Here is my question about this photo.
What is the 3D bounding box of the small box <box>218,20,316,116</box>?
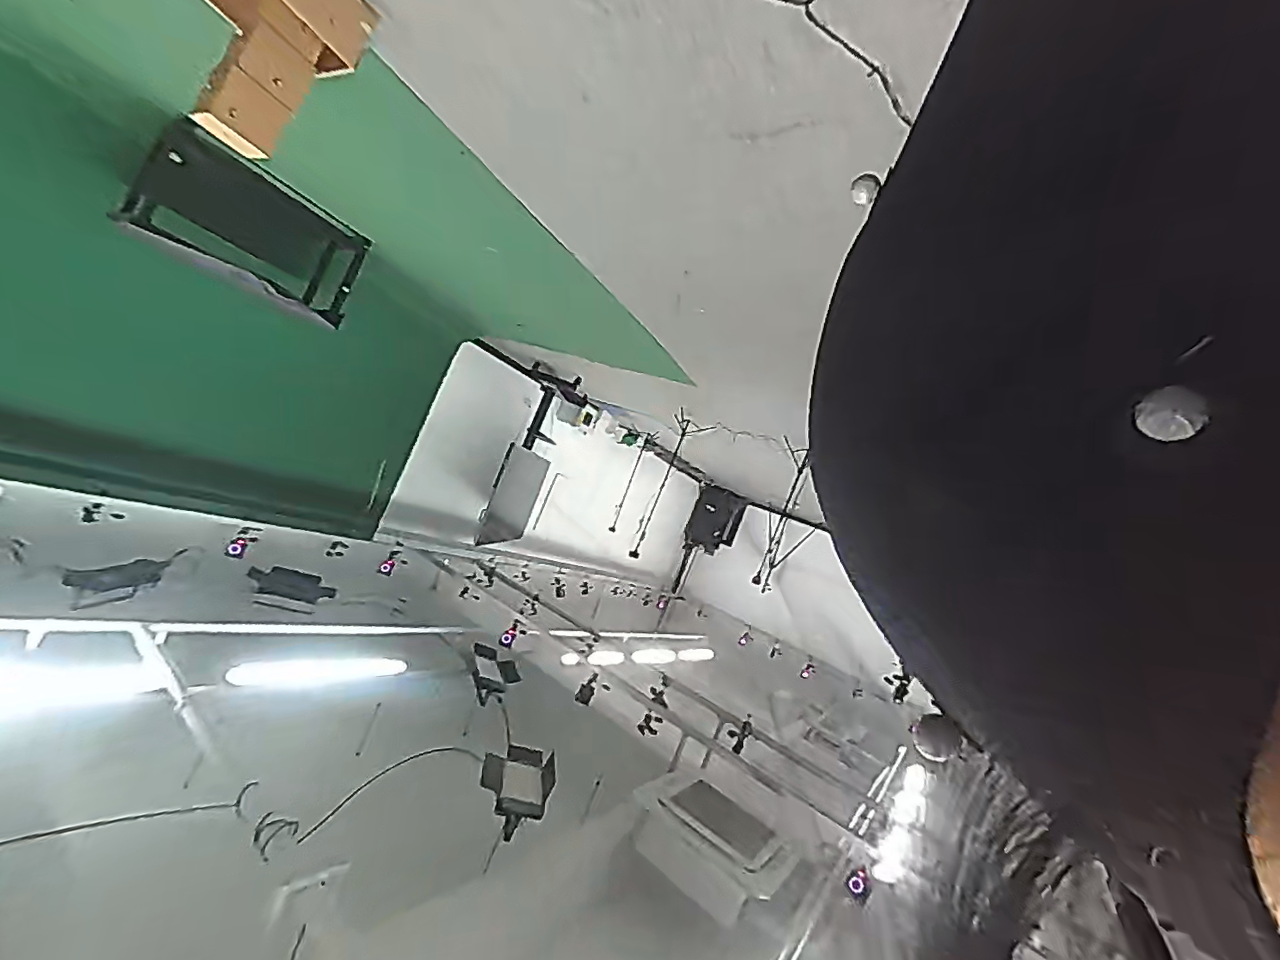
[{"bbox_3d":[-1.165,-1.288,1.700,0.168,0.176,0.179,19,174,31],"label":"small box"}]

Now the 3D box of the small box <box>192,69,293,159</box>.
[{"bbox_3d":[-1.230,-1.137,1.679,0.168,0.176,0.179,20,176,31],"label":"small box"}]

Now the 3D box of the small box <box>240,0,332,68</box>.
[{"bbox_3d":[-1.113,-1.443,1.711,0.179,0.176,0.168,19,175,31],"label":"small box"}]
